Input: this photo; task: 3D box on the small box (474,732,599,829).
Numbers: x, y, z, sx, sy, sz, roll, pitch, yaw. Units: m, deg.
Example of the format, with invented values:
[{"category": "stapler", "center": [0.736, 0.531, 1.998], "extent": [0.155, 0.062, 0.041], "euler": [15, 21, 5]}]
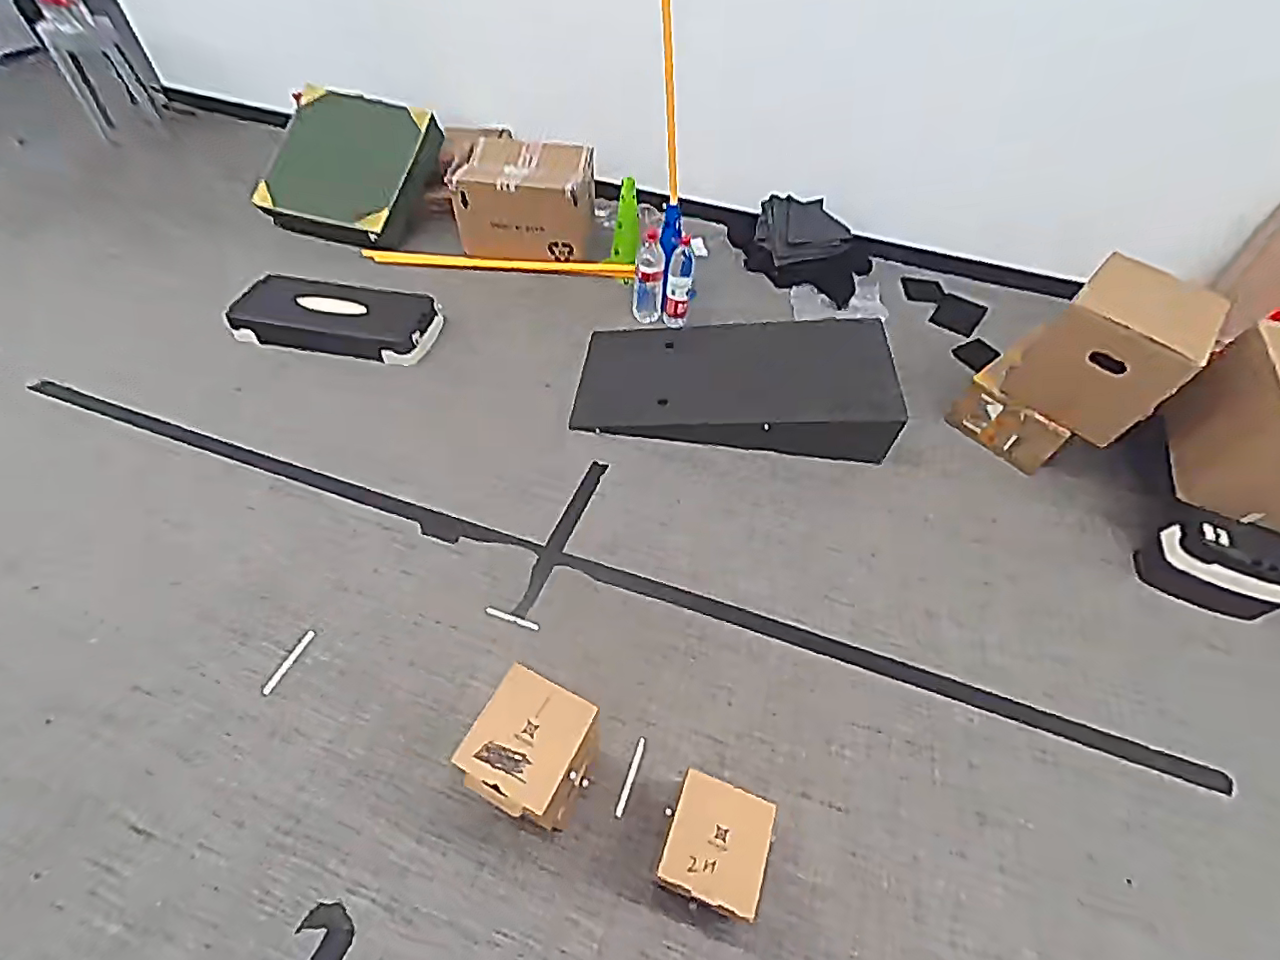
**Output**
[{"category": "small box", "center": [-0.192, 0.548, 1.042], "extent": [0.179, 0.176, 0.168], "euler": [20, 53, 10]}]

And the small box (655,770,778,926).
[{"category": "small box", "center": [0.131, 0.662, 0.976], "extent": [0.168, 0.176, 0.179], "euler": [19, 53, 11]}]

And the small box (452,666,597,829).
[{"category": "small box", "center": [-0.180, 0.452, 0.908], "extent": [0.168, 0.176, 0.179], "euler": [23, 53, 13]}]
